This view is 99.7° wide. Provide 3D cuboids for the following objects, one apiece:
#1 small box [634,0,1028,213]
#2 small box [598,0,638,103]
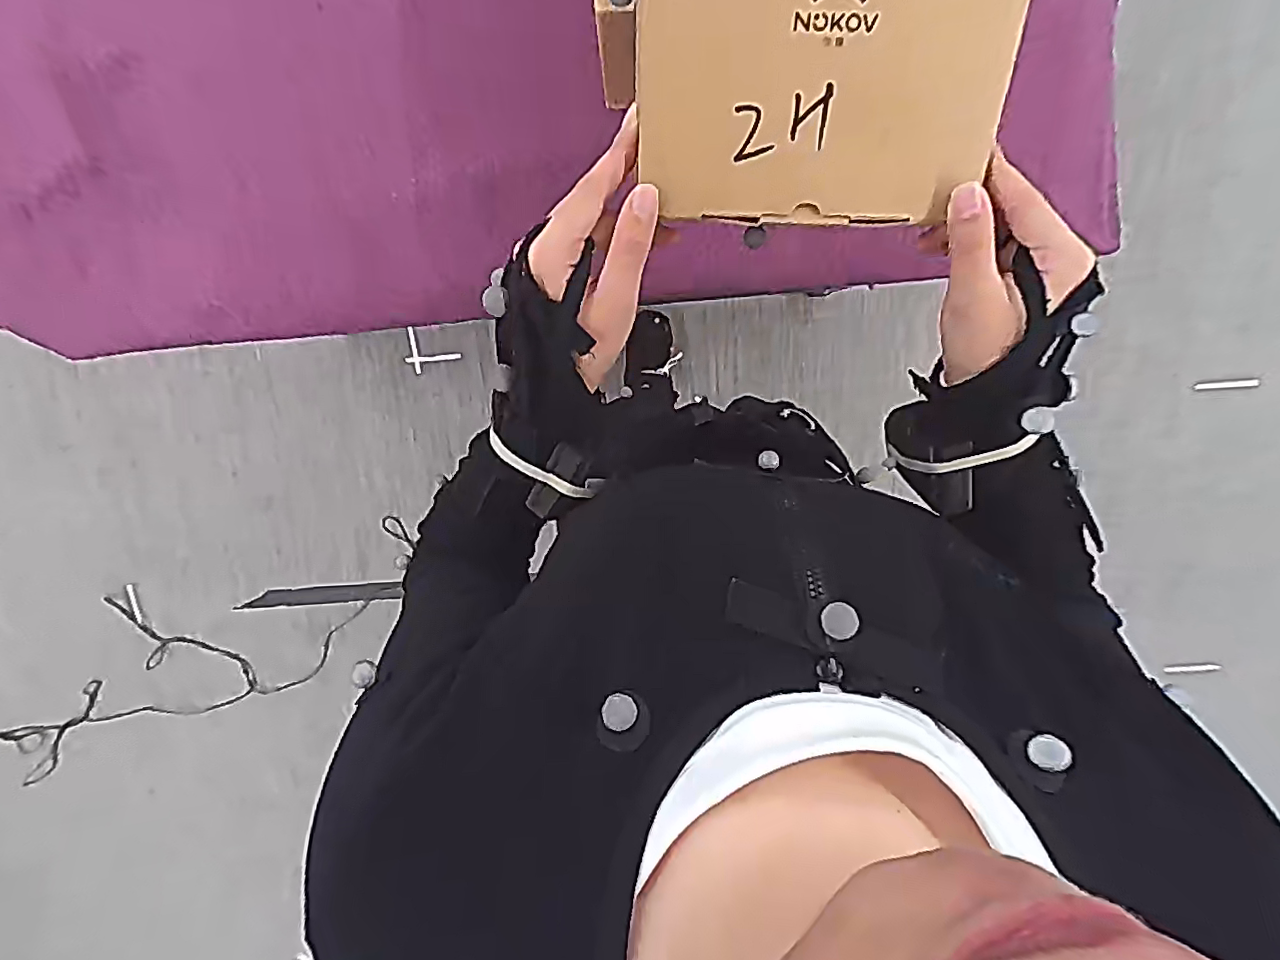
[{"bbox_3d":[0.082,-0.249,0.295,0.168,0.176,0.179,1,115,-1],"label":"small box"},{"bbox_3d":[0.046,-0.447,0.445,0.168,0.176,0.179,-3,104,1],"label":"small box"}]
